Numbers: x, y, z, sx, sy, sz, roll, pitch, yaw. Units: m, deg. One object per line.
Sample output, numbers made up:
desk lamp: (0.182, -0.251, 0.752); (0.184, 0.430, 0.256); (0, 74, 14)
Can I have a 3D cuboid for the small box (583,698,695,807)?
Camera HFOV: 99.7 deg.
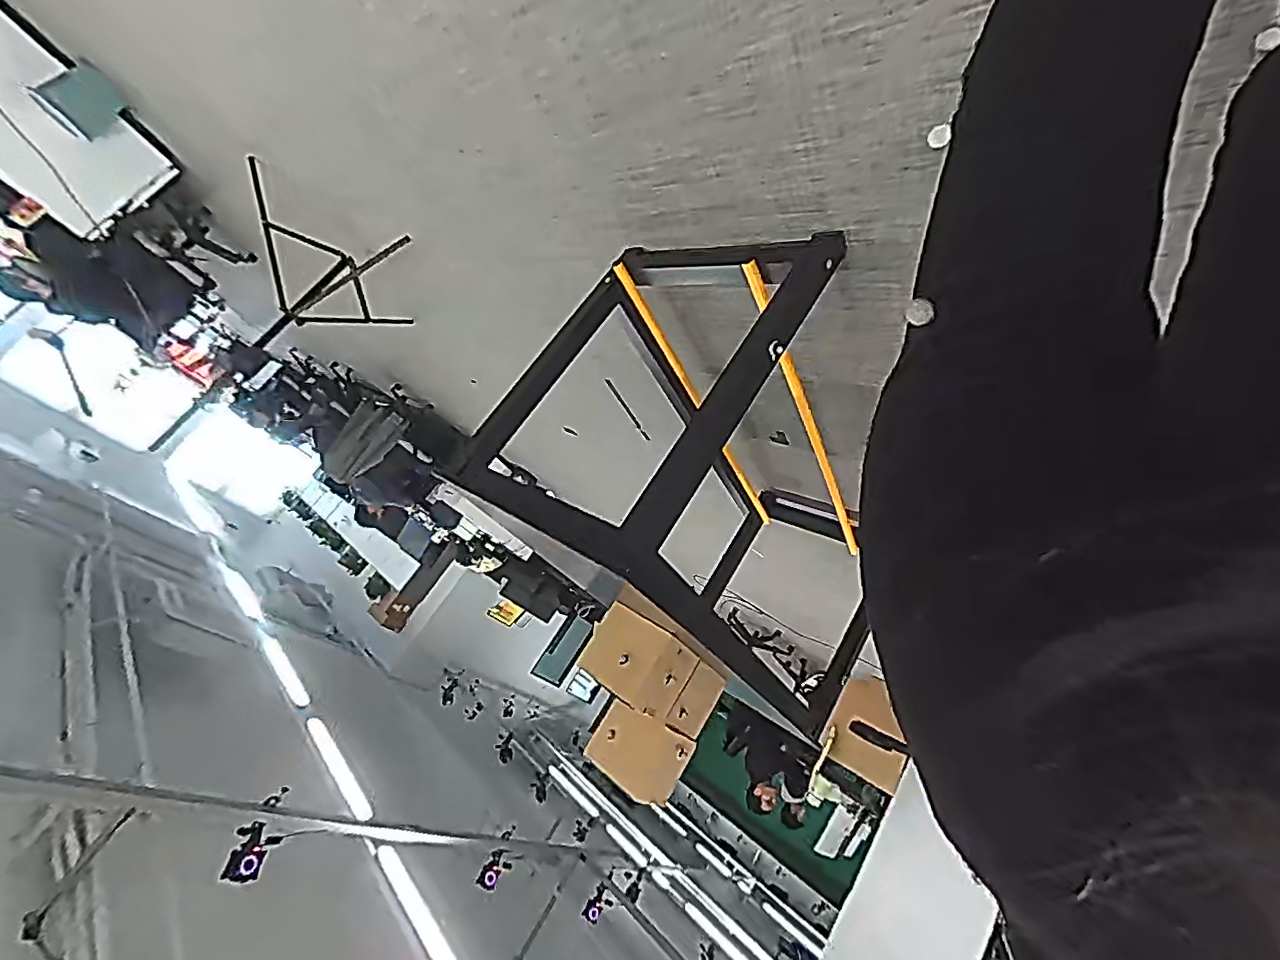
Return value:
small box: (0.002, 0.646, 1.300); (0.179, 0.176, 0.168); (20, 160, 39)
